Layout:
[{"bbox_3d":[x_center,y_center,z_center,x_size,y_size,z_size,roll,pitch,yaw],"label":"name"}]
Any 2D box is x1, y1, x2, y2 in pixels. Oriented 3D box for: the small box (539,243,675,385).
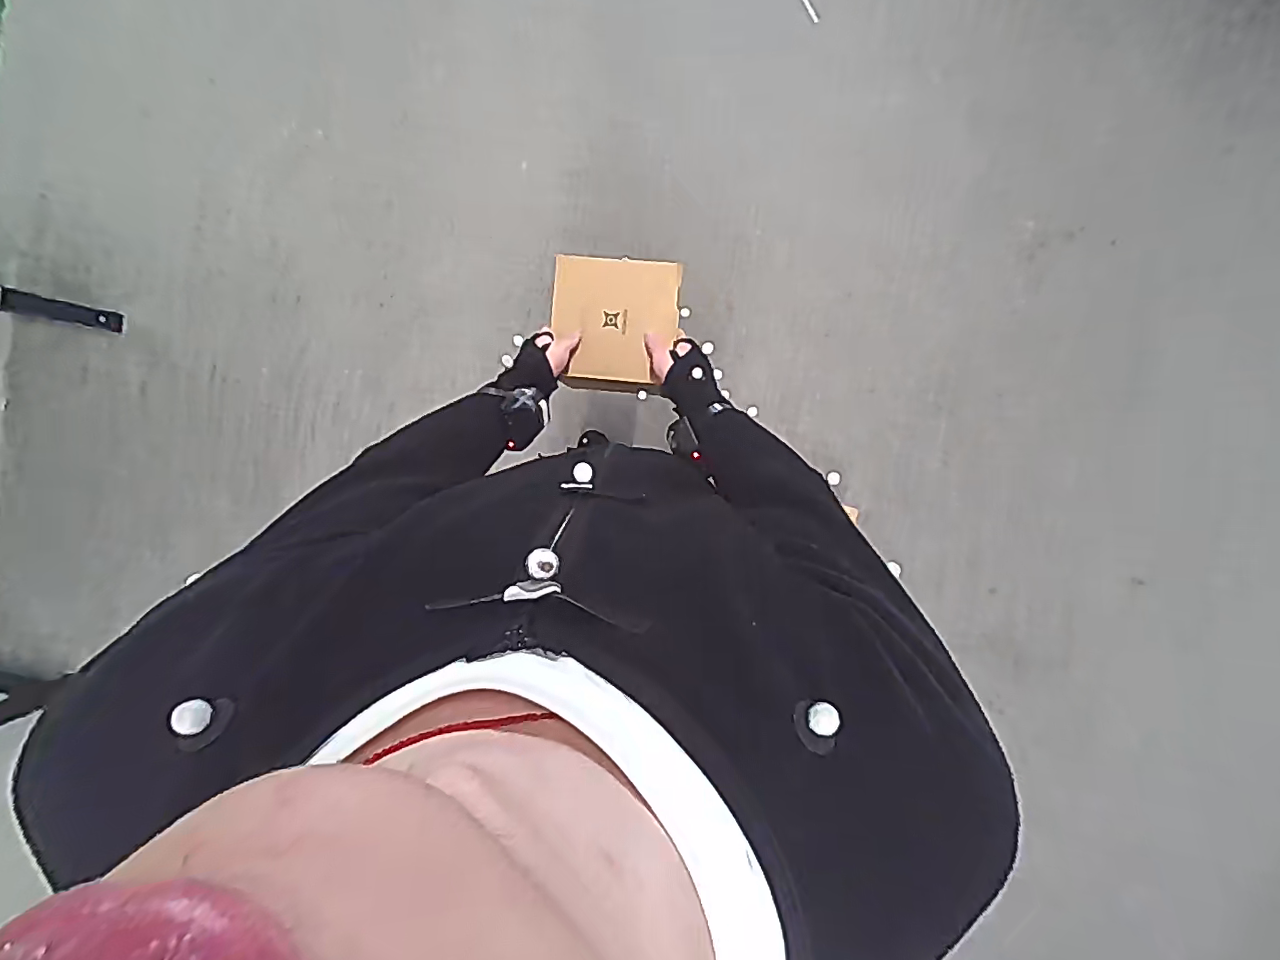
[{"bbox_3d":[-0.042,-0.240,0.821,0.179,0.176,0.168,6,93,4],"label":"small box"}]
